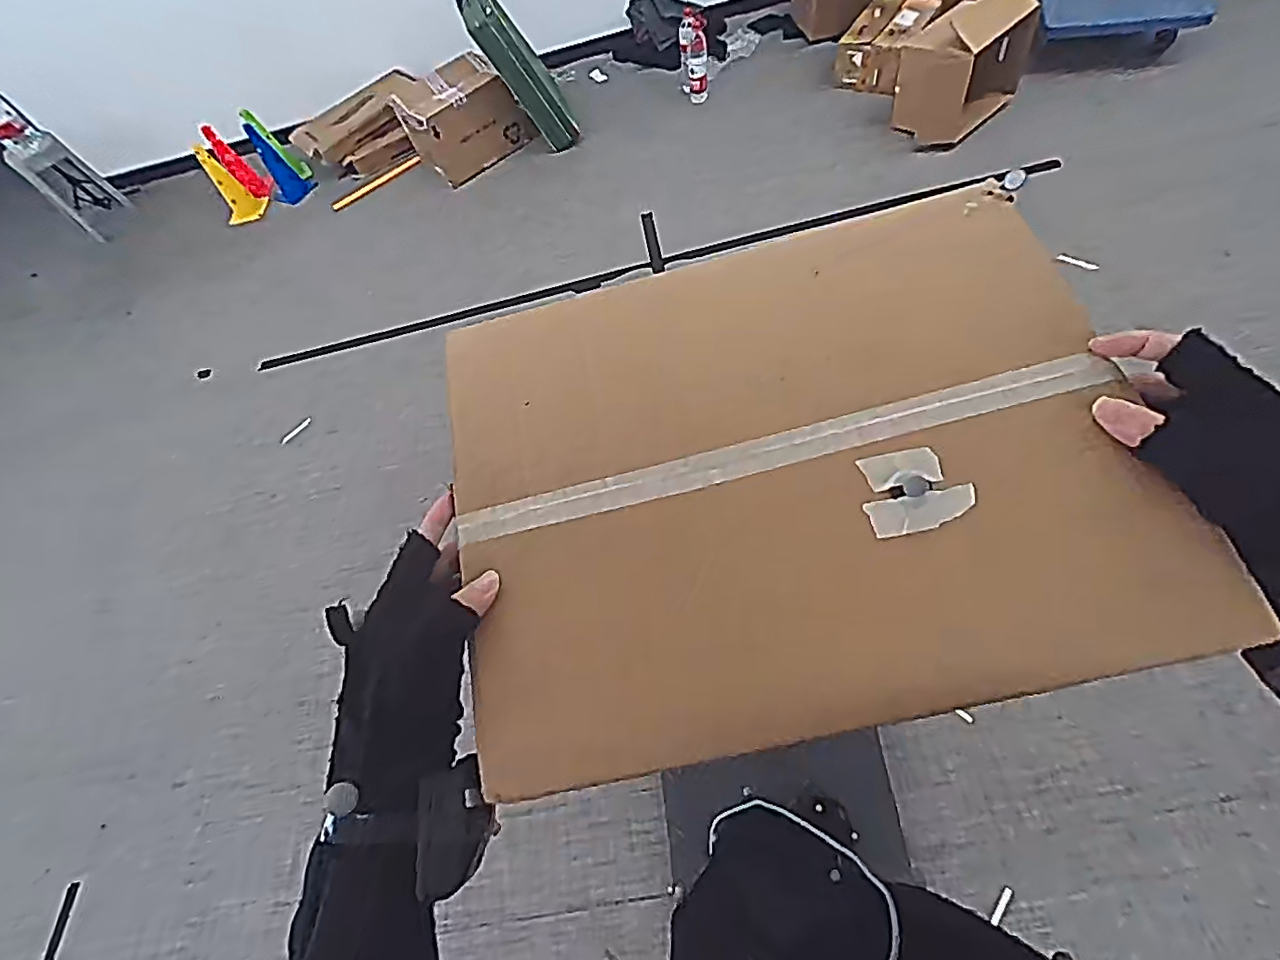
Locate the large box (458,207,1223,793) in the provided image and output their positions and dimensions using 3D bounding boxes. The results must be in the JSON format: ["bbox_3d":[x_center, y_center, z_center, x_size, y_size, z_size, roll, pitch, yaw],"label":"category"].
[{"bbox_3d":[0.103,0.041,0.484,0.408,0.320,0.320,-14,69,3],"label":"large box"}]
